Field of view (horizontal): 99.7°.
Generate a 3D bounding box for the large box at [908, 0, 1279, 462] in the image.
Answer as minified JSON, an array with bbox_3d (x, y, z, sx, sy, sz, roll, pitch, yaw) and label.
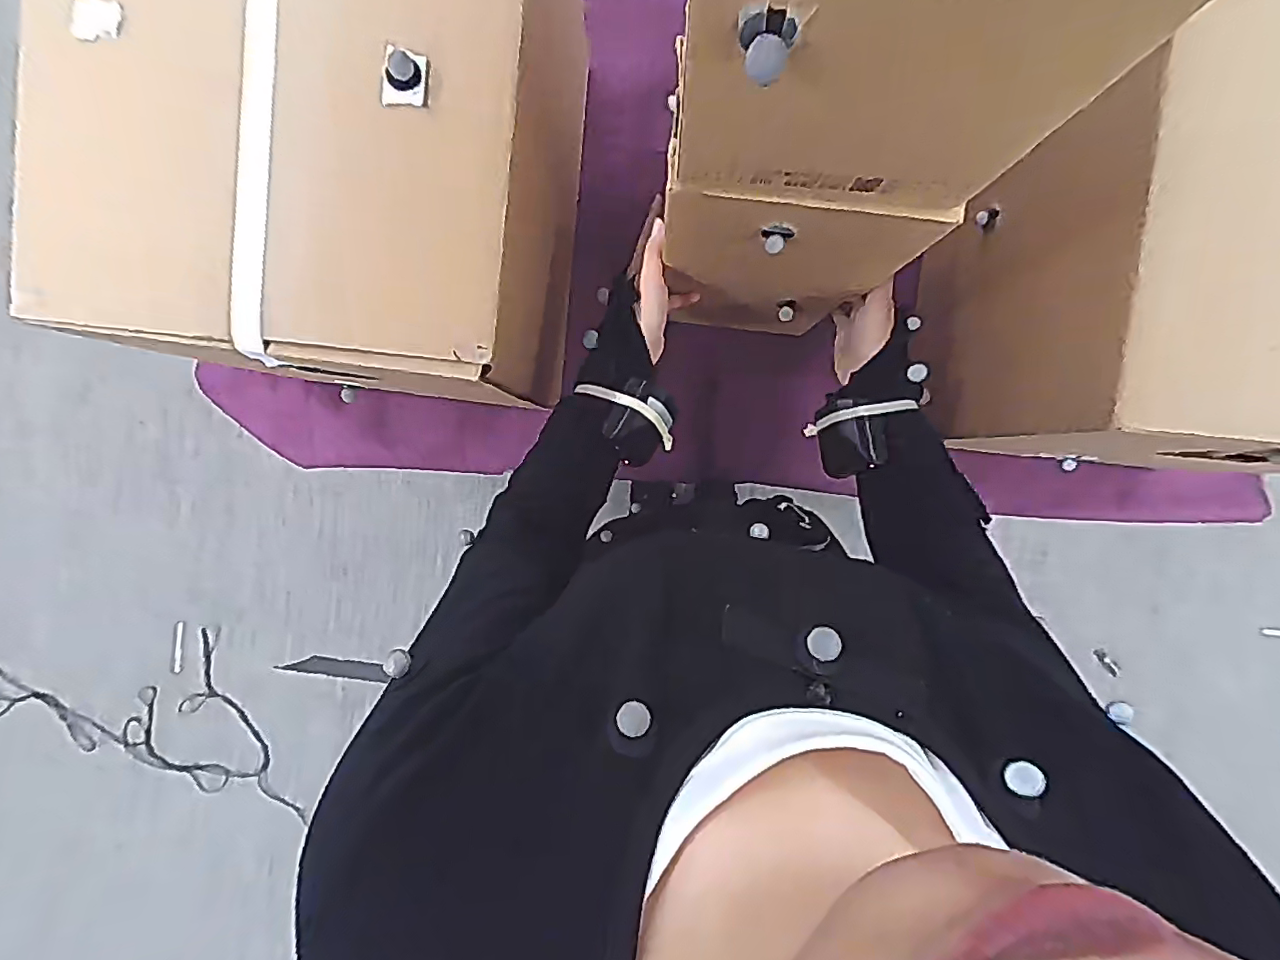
[{"bbox_3d":[0.470,-0.224,0.475,0.320,0.320,0.408,5,92,1],"label":"large box"}]
